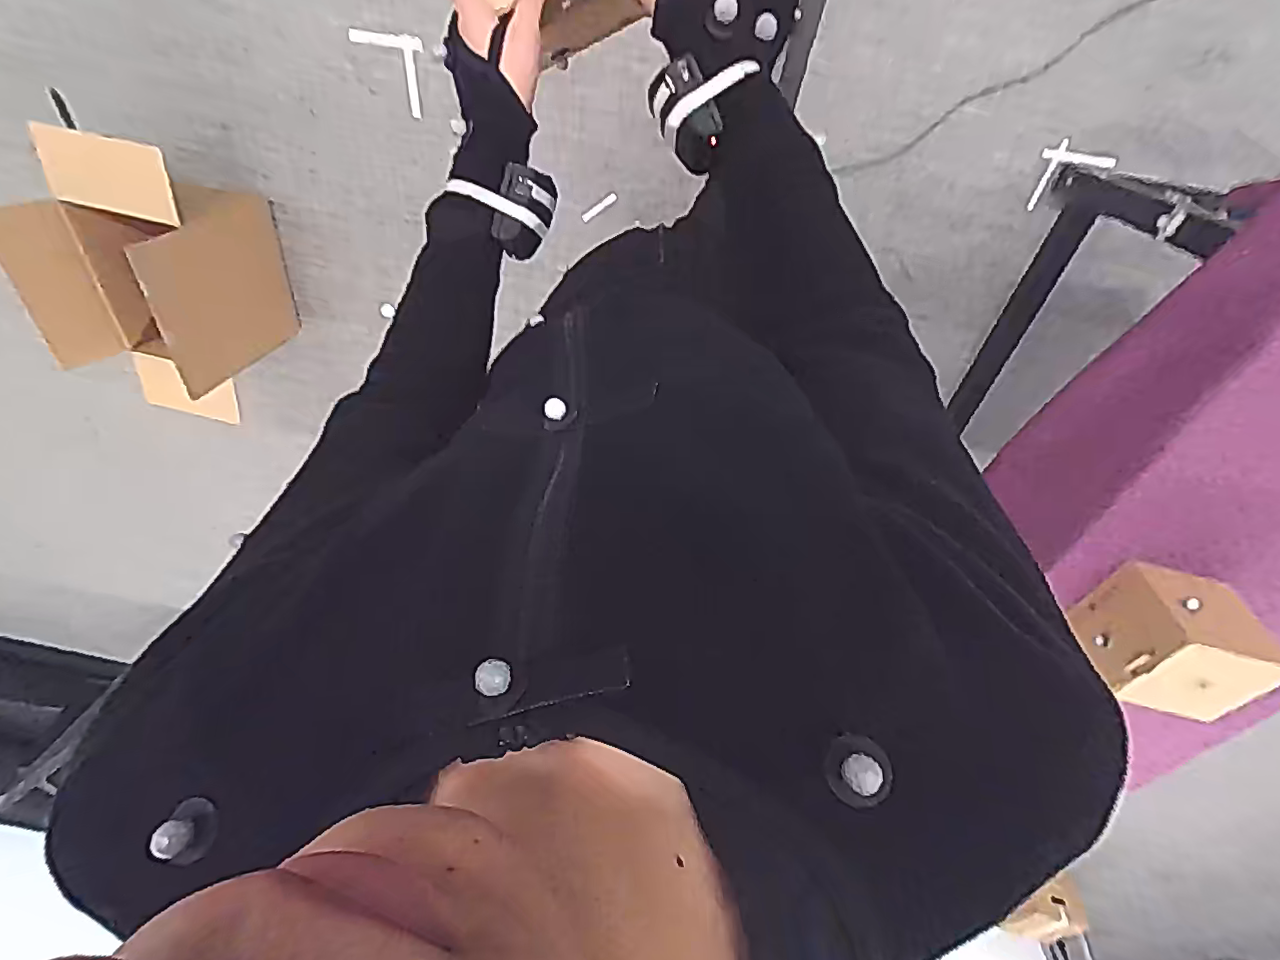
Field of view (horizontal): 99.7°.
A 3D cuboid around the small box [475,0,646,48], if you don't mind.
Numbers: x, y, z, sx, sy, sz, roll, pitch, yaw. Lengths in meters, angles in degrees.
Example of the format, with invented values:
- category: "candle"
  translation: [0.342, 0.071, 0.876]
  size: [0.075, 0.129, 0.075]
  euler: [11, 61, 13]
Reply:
- category: "small box"
  translation: [-0.071, -0.492, 0.436]
  size: [0.168, 0.176, 0.179]
  euler: [-18, 112, 14]

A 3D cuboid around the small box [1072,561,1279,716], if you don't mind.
- category: "small box"
  translation: [0.883, 0.257, 0.899]
  size: [0.179, 0.176, 0.168]
  euler: [14, 131, -1]
